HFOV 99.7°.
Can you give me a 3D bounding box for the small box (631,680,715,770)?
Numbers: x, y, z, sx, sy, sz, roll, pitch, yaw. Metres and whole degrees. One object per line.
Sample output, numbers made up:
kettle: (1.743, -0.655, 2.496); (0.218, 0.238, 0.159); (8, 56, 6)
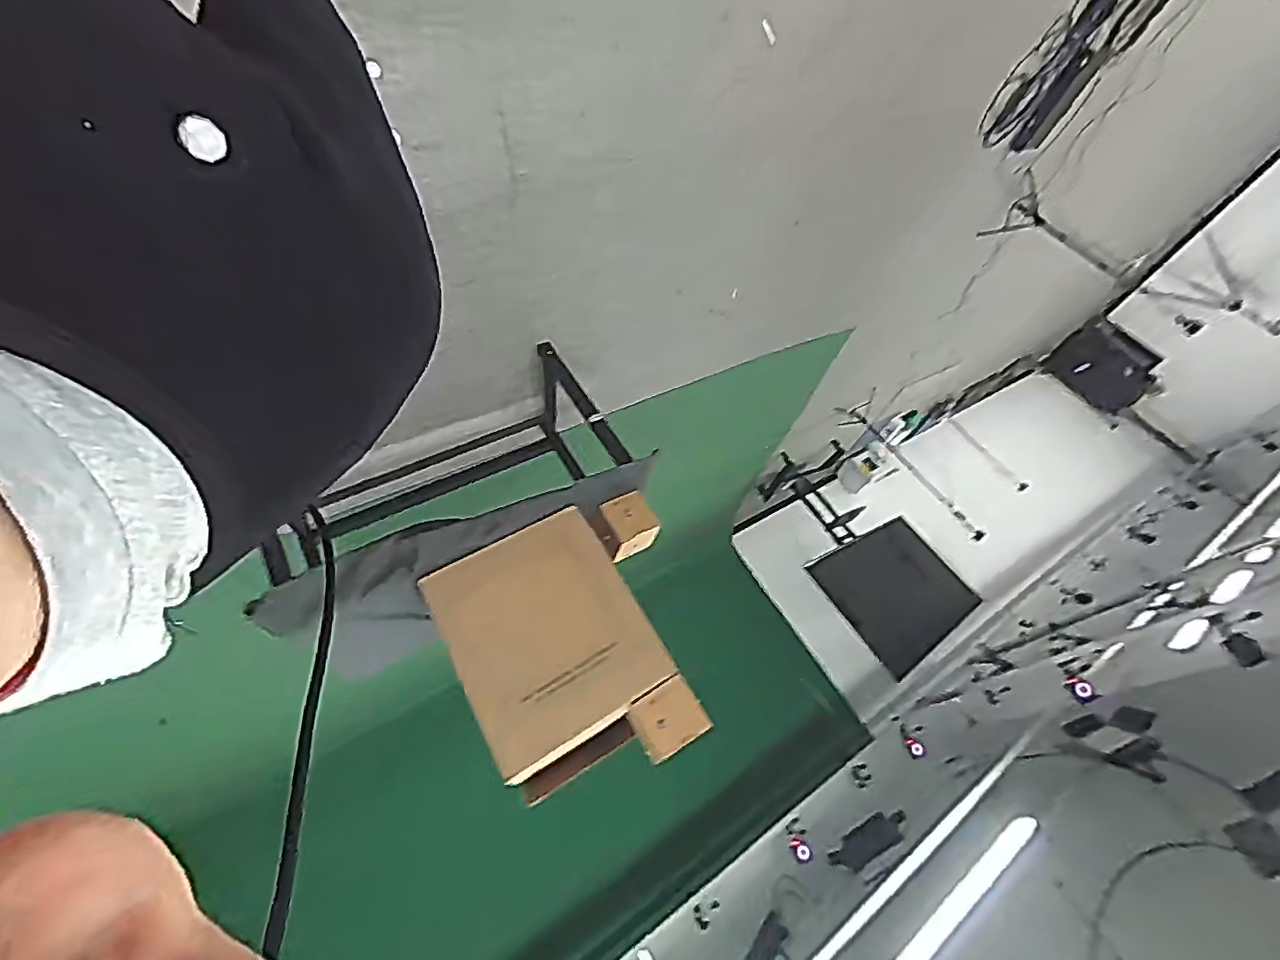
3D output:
small box: (0.088, 0.704, 1.560); (0.168, 0.176, 0.179); (-26, 156, -20)
